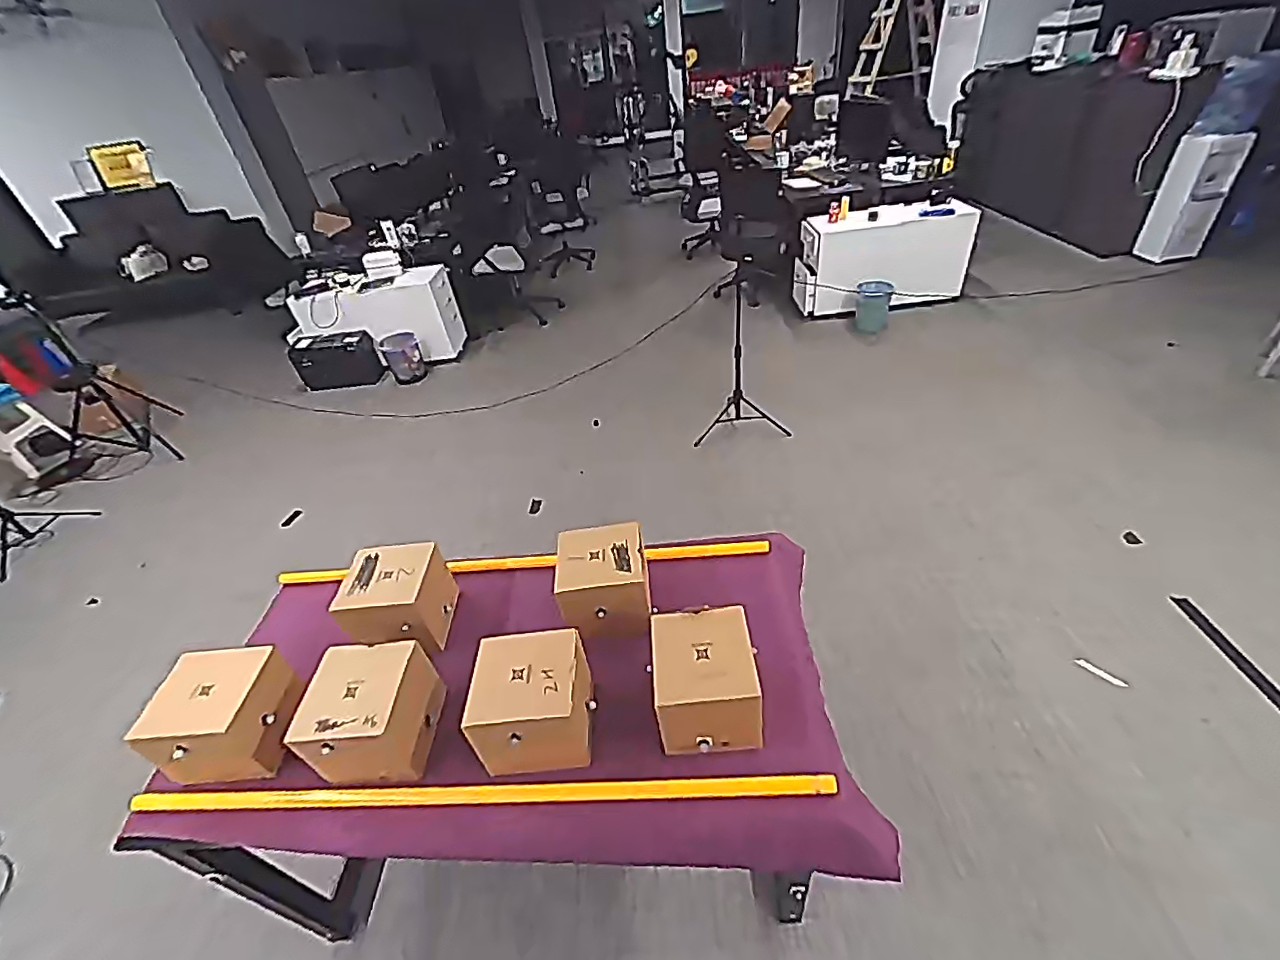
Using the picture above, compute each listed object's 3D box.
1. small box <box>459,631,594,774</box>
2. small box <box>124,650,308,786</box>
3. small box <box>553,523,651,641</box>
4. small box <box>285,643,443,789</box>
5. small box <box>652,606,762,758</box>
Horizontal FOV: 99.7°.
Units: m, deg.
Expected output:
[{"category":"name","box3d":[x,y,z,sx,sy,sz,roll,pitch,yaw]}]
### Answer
[{"category":"small box","box3d":[-0.184,0.386,0.933,0.179,0.176,0.168,-7,37,3]},{"category":"small box","box3d":[-0.748,0.434,0.985,0.179,0.176,0.168,-6,38,2]},{"category":"small box","box3d":[-0.073,0.215,1.127,0.179,0.176,0.168,-8,39,2]},{"category":"small box","box3d":[-0.468,0.415,0.955,0.168,0.176,0.179,-7,38,5]},{"category":"small box","box3d":[0.111,0.345,0.927,0.168,0.176,0.179,-8,36,4]}]
